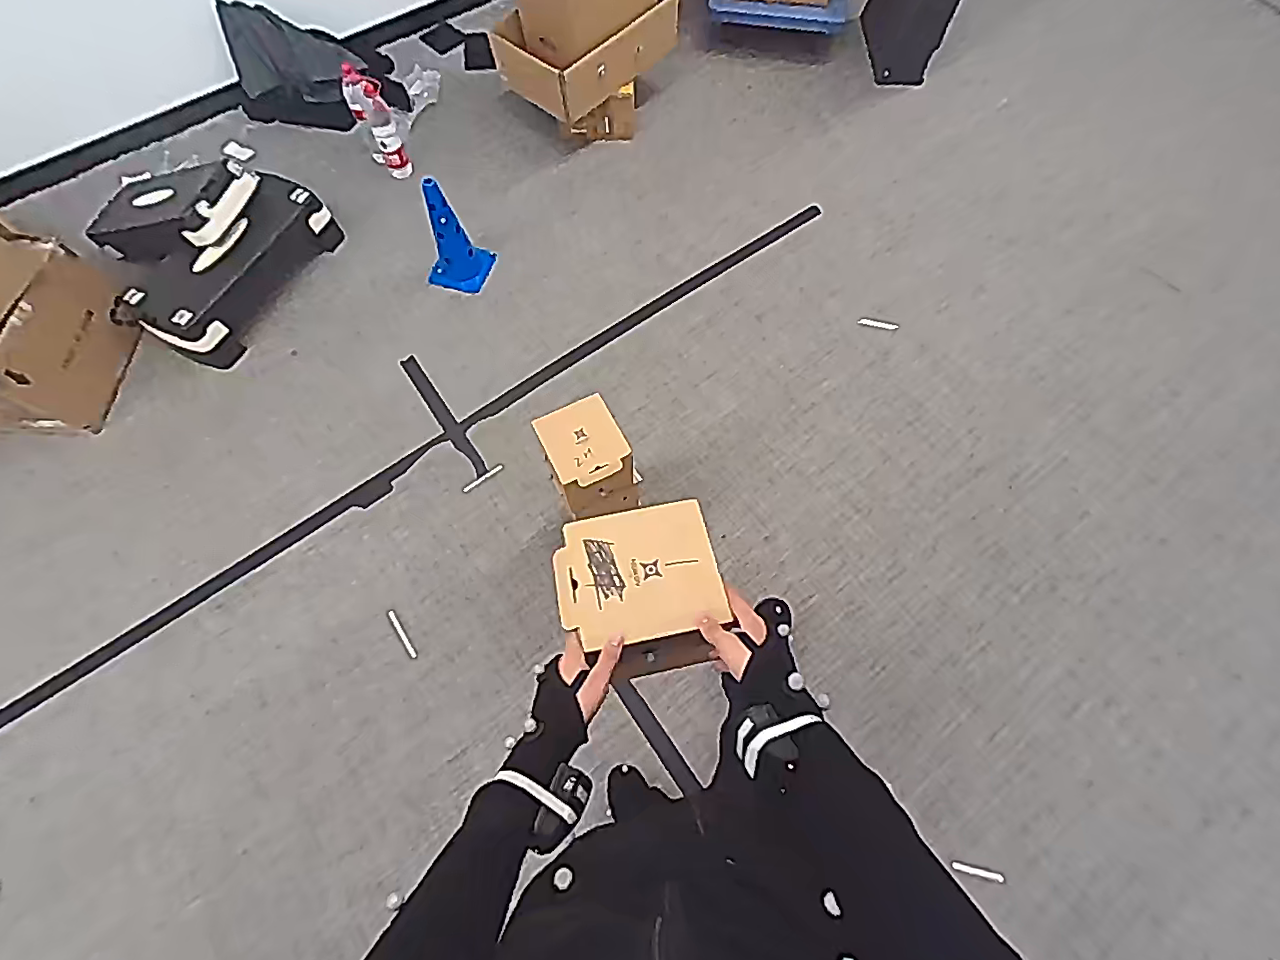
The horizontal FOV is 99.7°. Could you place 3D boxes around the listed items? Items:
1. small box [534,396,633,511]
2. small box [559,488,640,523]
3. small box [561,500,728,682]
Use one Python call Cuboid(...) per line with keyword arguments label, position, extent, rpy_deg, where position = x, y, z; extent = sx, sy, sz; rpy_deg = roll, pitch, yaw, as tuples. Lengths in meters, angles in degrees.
Cuboid(label="small box", position=(-0.126, -0.055, 1.239), extent=(0.168, 0.176, 0.179), rpy_deg=(-25, 70, -10))
Cuboid(label="small box", position=(-0.110, 0.075, 1.542), extent=(0.168, 0.176, 0.179), rpy_deg=(-30, 71, -12))
Cuboid(label="small box", position=(0.003, 0.152, 0.710), extent=(0.179, 0.176, 0.168), rpy_deg=(-11, 58, -6))
